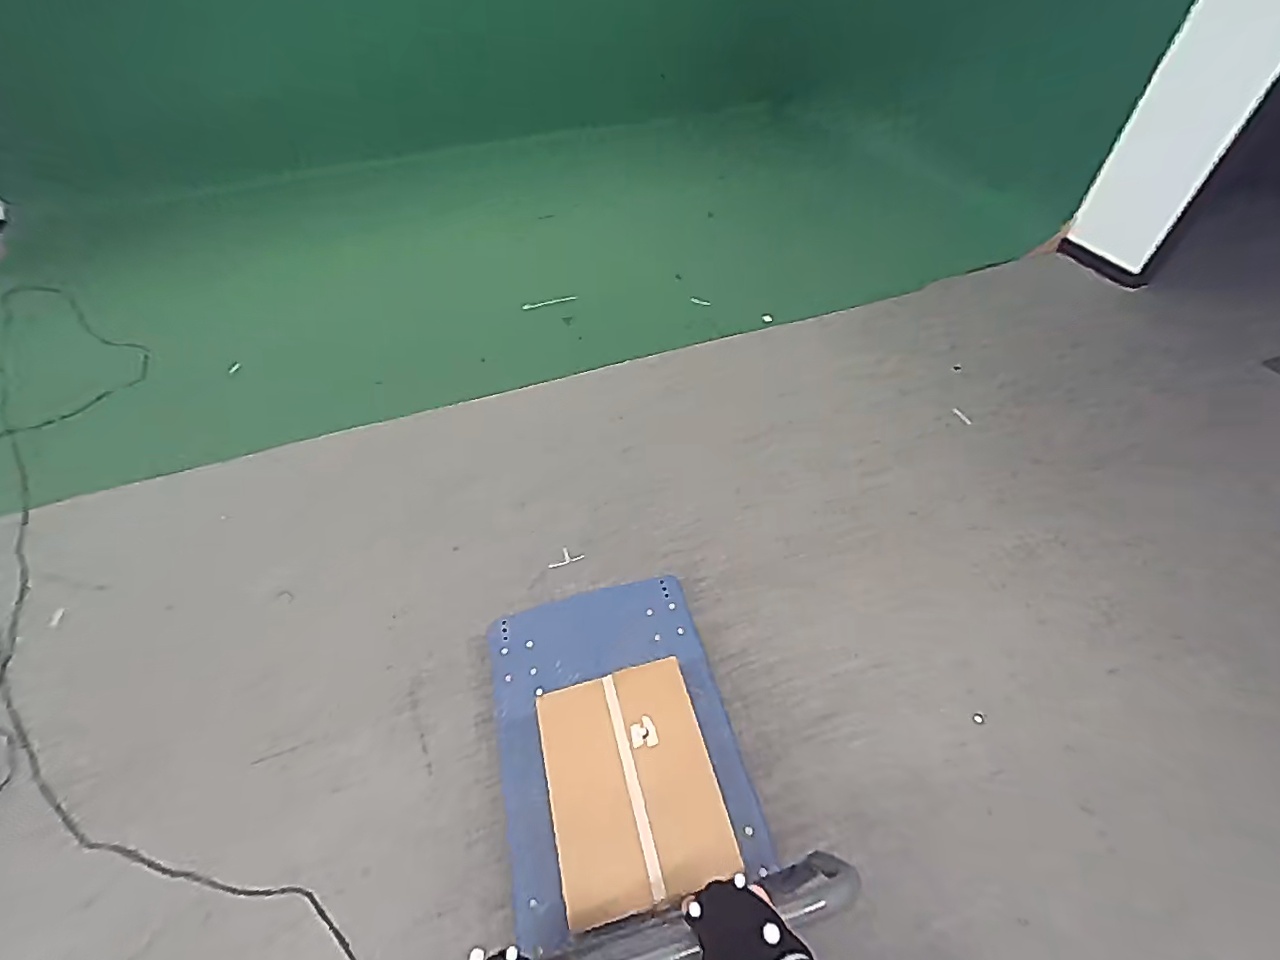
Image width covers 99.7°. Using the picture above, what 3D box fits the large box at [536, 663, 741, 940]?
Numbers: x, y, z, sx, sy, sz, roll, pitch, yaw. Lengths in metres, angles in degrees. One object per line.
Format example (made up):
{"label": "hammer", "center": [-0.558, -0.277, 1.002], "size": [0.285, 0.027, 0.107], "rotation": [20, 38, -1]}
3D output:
{"label": "large box", "center": [-0.013, 0.678, 1.155], "size": [0.320, 0.320, 0.408], "rotation": [-13, 49, -9]}
